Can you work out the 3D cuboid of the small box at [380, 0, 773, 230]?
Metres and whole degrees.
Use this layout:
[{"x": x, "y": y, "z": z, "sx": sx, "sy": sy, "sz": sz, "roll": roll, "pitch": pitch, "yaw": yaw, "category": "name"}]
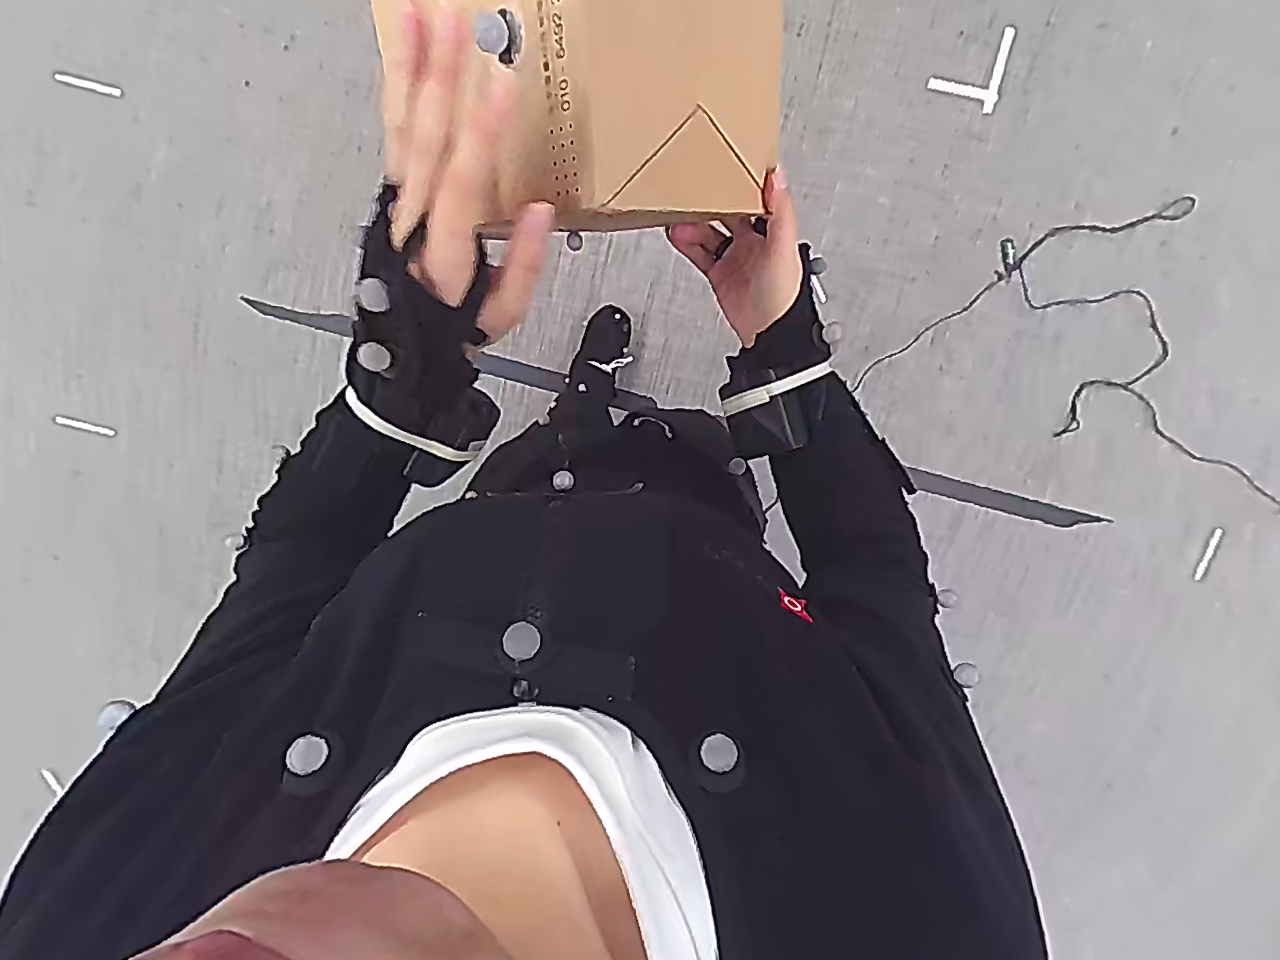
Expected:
[{"x": -0.029, "y": -0.249, "z": 0.330, "sx": 0.176, "sy": 0.179, "sz": 0.168, "roll": 14, "pitch": 118, "yaw": 38, "category": "small box"}]
